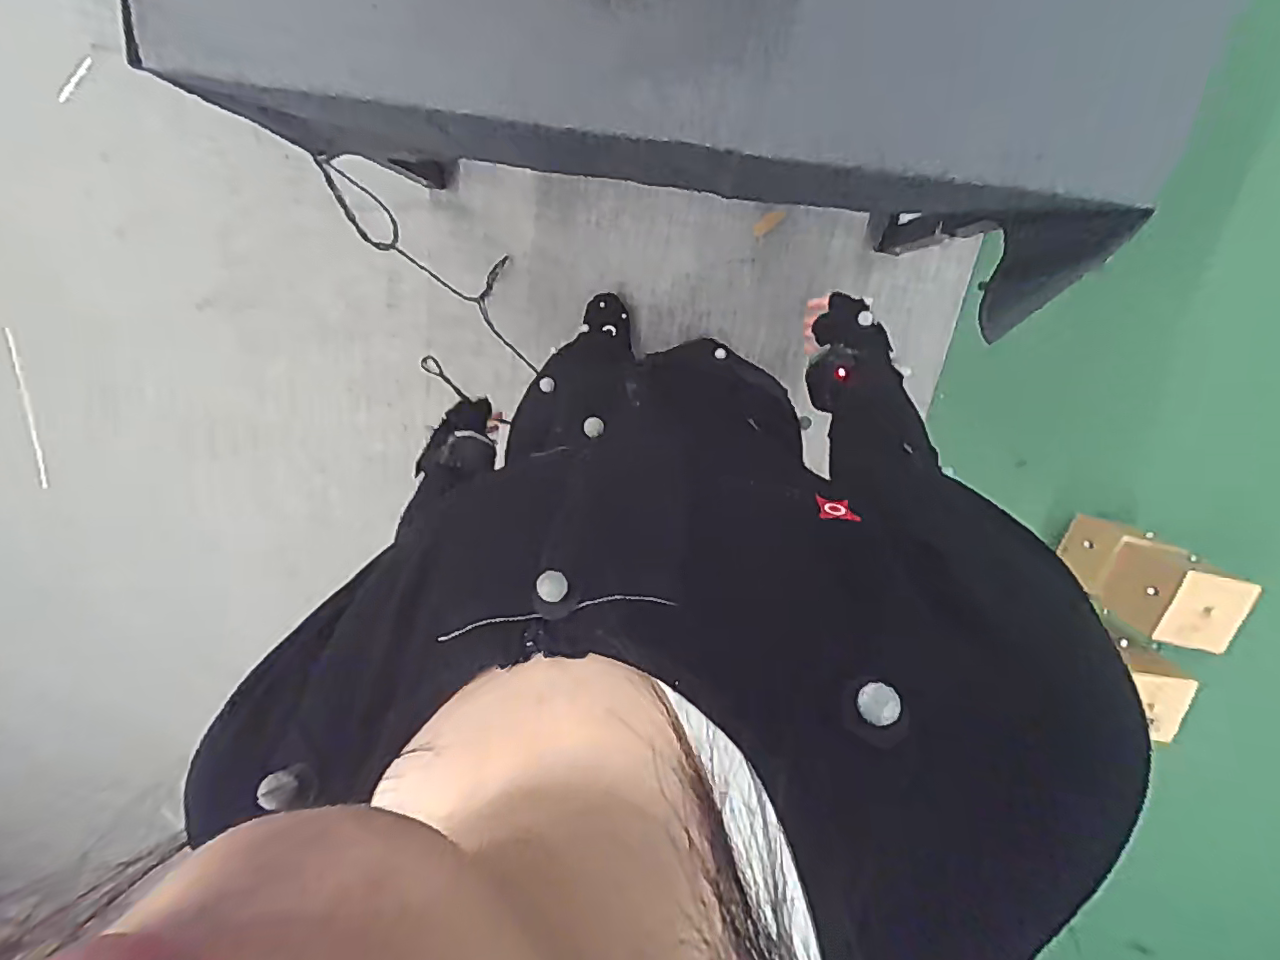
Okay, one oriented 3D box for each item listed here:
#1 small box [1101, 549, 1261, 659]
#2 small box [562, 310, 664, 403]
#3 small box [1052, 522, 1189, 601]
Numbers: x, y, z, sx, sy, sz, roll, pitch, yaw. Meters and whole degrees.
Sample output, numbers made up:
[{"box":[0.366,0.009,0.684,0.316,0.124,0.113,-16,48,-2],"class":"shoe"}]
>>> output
[{"box":[1.233,0.279,1.251,0.168,0.176,0.179,13,107,0],"class":"small box"},{"box":[-0.073,-0.312,1.350,0.179,0.176,0.168,36,116,12],"class":"small box"},{"box":[1.234,0.222,1.406,0.179,0.176,0.168,14,107,-1],"class":"small box"}]
